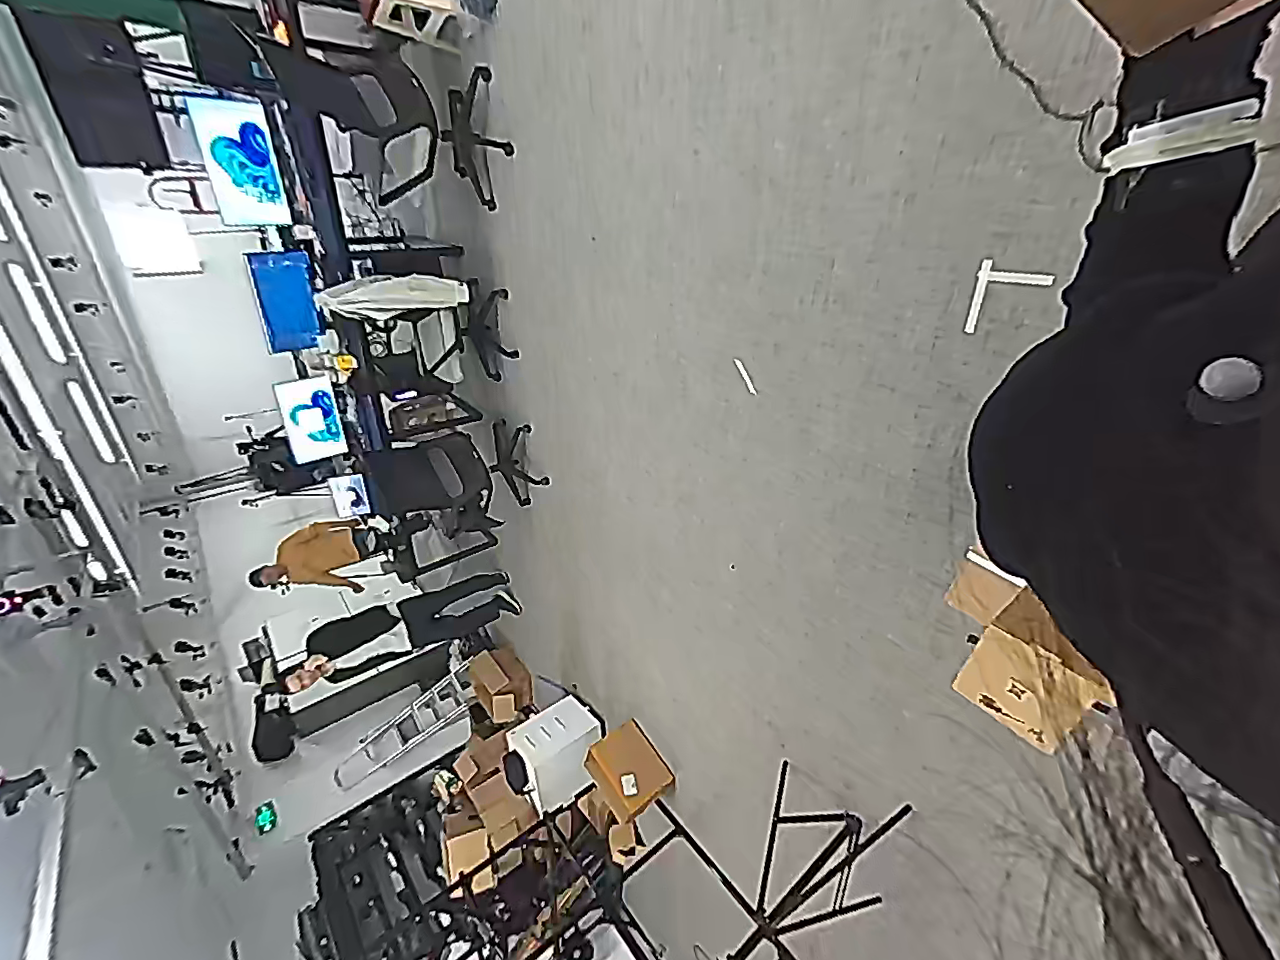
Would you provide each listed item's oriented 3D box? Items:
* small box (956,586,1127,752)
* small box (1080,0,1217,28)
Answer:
[{"bbox_3d":[0.694,0.315,0.935,0.168,0.176,0.179,37,133,39],"label":"small box"},{"bbox_3d":[0.262,-0.324,0.208,0.168,0.176,0.179,-14,96,51],"label":"small box"}]
